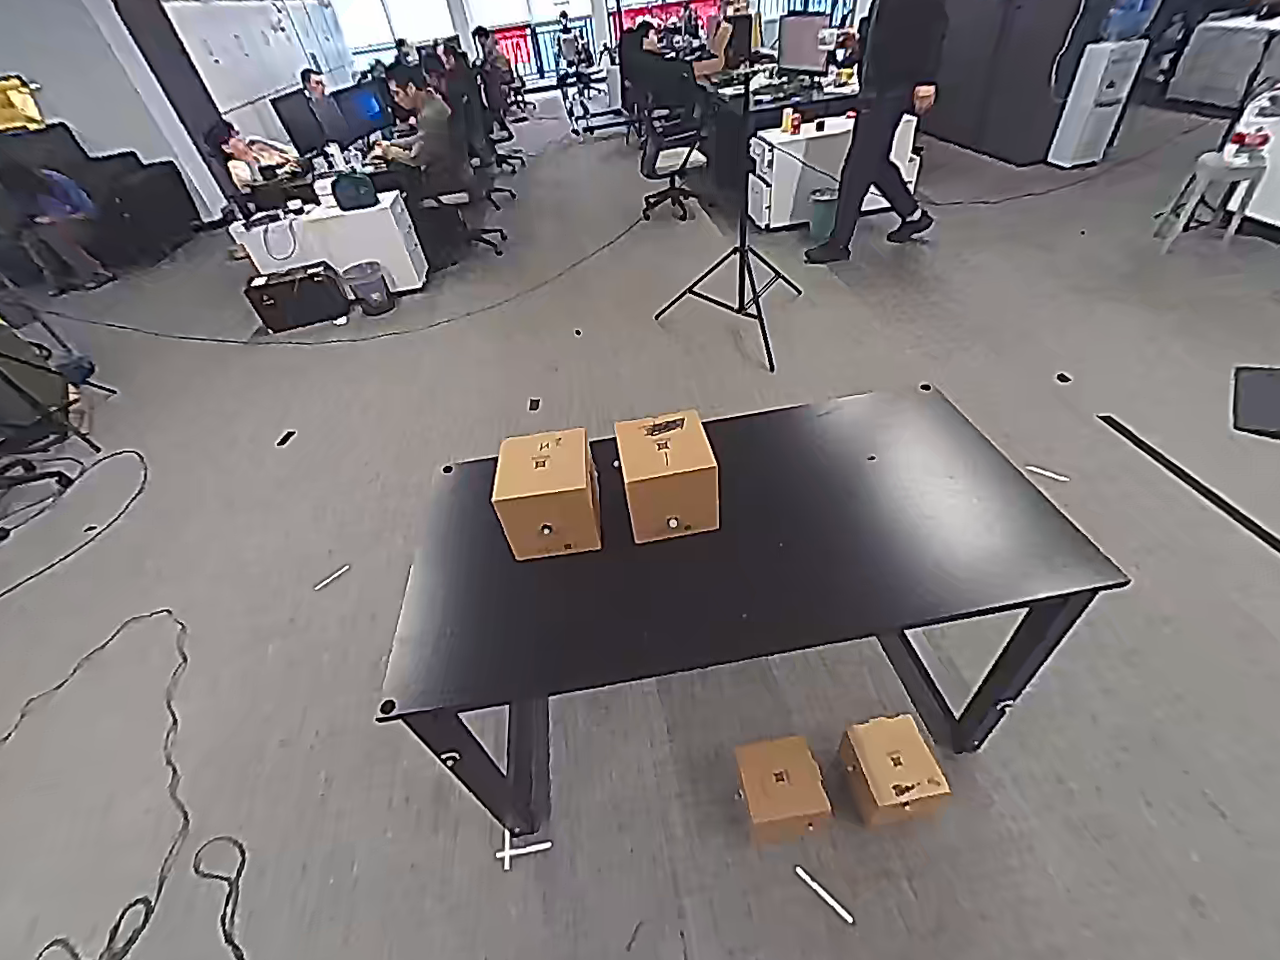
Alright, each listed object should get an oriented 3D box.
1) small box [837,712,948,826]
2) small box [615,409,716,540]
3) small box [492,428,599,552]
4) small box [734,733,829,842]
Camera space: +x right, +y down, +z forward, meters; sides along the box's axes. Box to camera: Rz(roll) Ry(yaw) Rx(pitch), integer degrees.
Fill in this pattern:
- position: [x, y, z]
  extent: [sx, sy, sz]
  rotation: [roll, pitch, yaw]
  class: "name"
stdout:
- position: [0.585, 0.686, 1.283]
  extent: [0.168, 0.176, 0.179]
  rotation: [-11, 42, -1]
  class: "small box"
- position: [0.048, -0.010, 1.048]
  extent: [0.168, 0.176, 0.179]
  rotation: [-10, 43, -1]
  class: "small box"
- position: [-0.173, 0.026, 1.047]
  extent: [0.168, 0.176, 0.179]
  rotation: [-7, 42, 0]
  class: "small box"
- position: [0.326, 0.730, 1.283]
  extent: [0.179, 0.176, 0.168]
  rotation: [-11, 42, -1]
  class: "small box"
